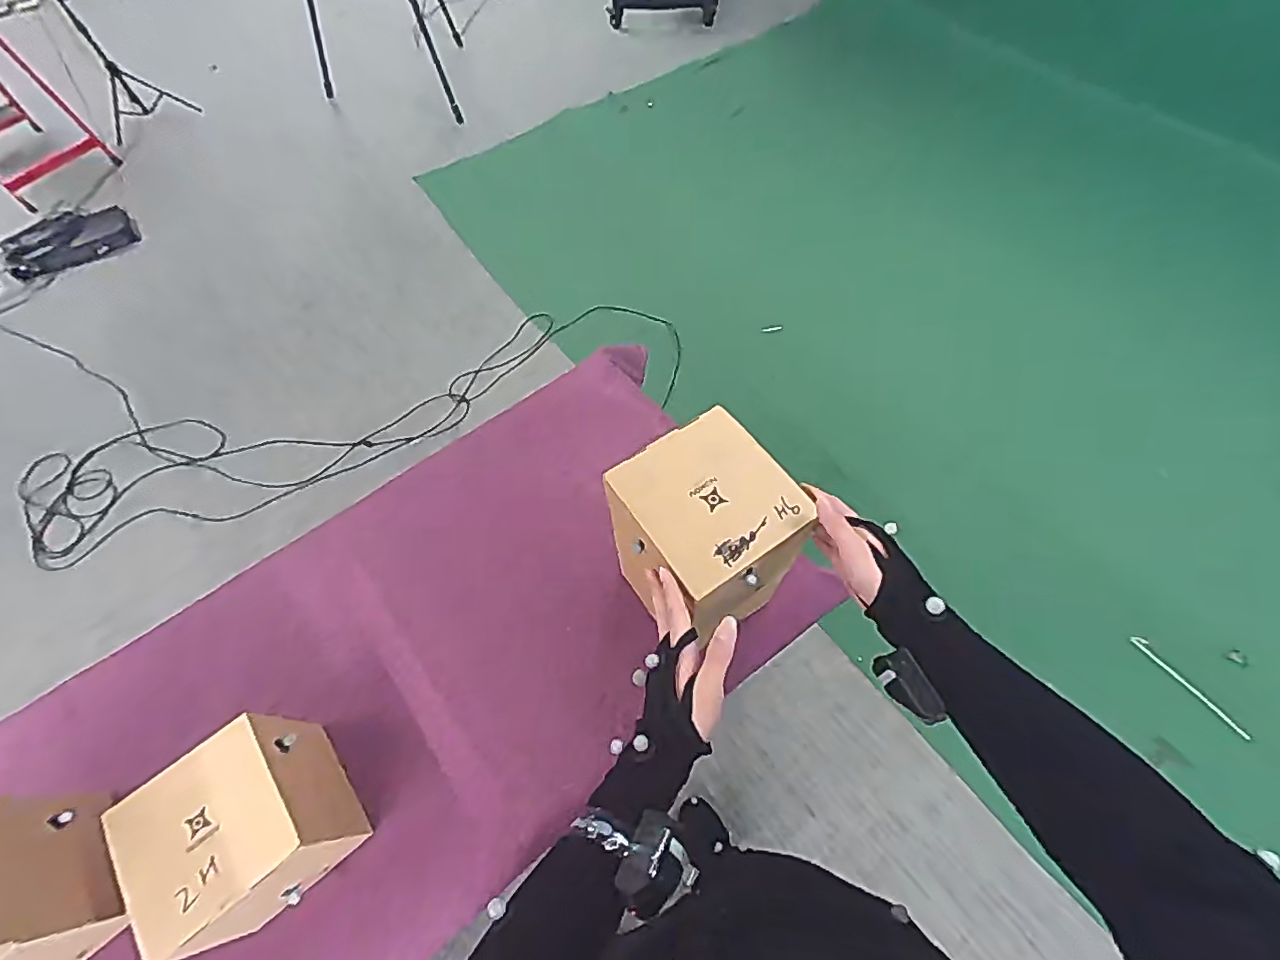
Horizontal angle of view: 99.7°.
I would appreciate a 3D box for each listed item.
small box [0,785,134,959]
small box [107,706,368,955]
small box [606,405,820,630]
[{"bbox_3d":[-0.742,0.488,0.628,0.168,0.176,0.179,-38,68,-16],"label":"small box"},{"bbox_3d":[-0.474,0.410,0.660,0.168,0.176,0.179,-36,67,-16],"label":"small box"},{"bbox_3d":[0.077,0.051,0.646,0.168,0.176,0.179,-31,65,-13],"label":"small box"}]
